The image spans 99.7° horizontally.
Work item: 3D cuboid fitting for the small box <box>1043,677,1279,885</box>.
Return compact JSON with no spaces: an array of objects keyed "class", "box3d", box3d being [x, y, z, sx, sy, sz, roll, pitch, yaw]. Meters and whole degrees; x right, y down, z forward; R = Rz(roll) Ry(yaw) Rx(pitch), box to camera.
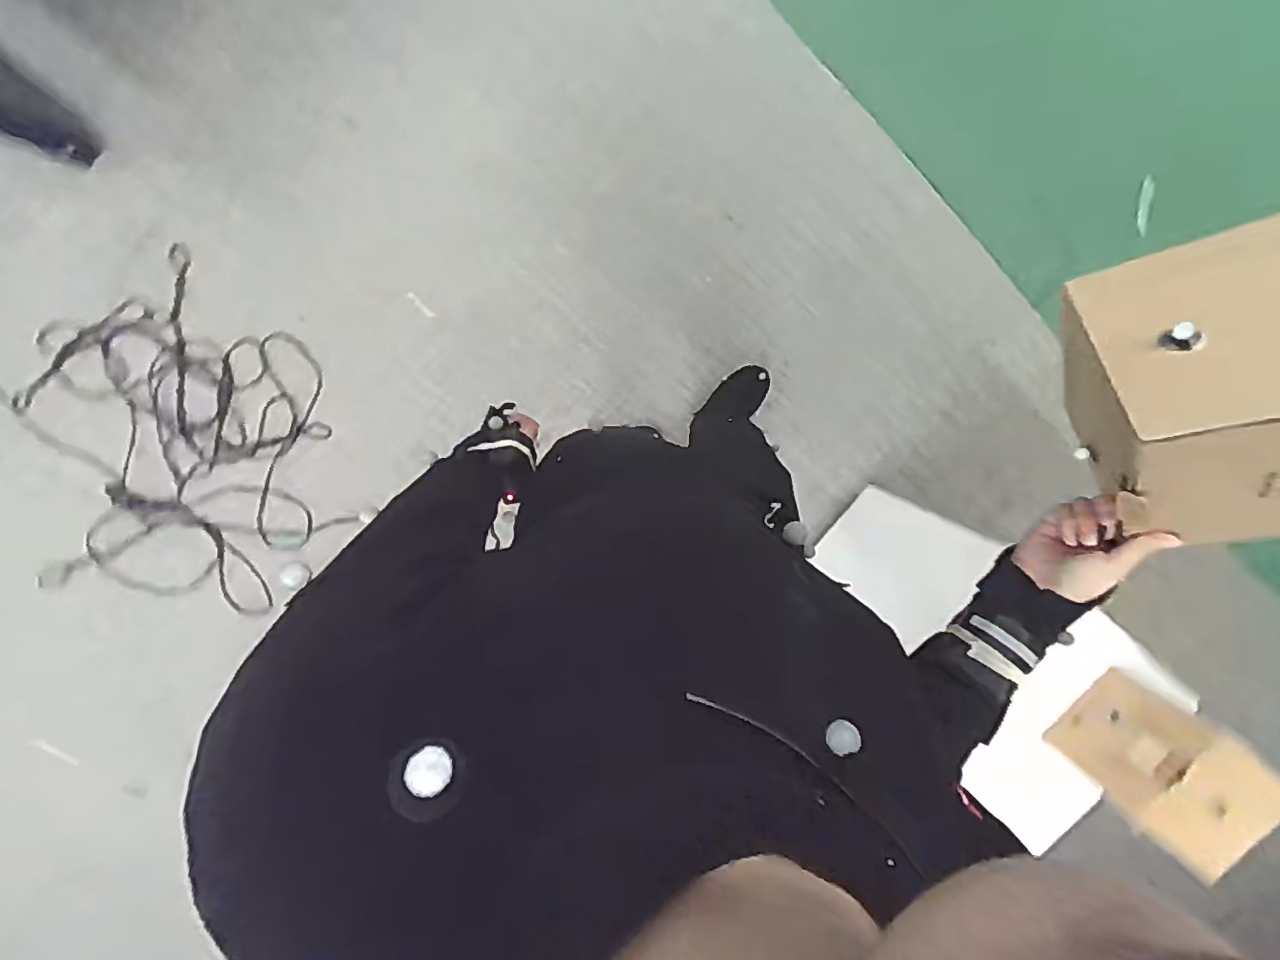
[{"class":"small box","box3d":[0.763,0.429,0.796,0.179,0.176,0.168,38,98,-9]}]
